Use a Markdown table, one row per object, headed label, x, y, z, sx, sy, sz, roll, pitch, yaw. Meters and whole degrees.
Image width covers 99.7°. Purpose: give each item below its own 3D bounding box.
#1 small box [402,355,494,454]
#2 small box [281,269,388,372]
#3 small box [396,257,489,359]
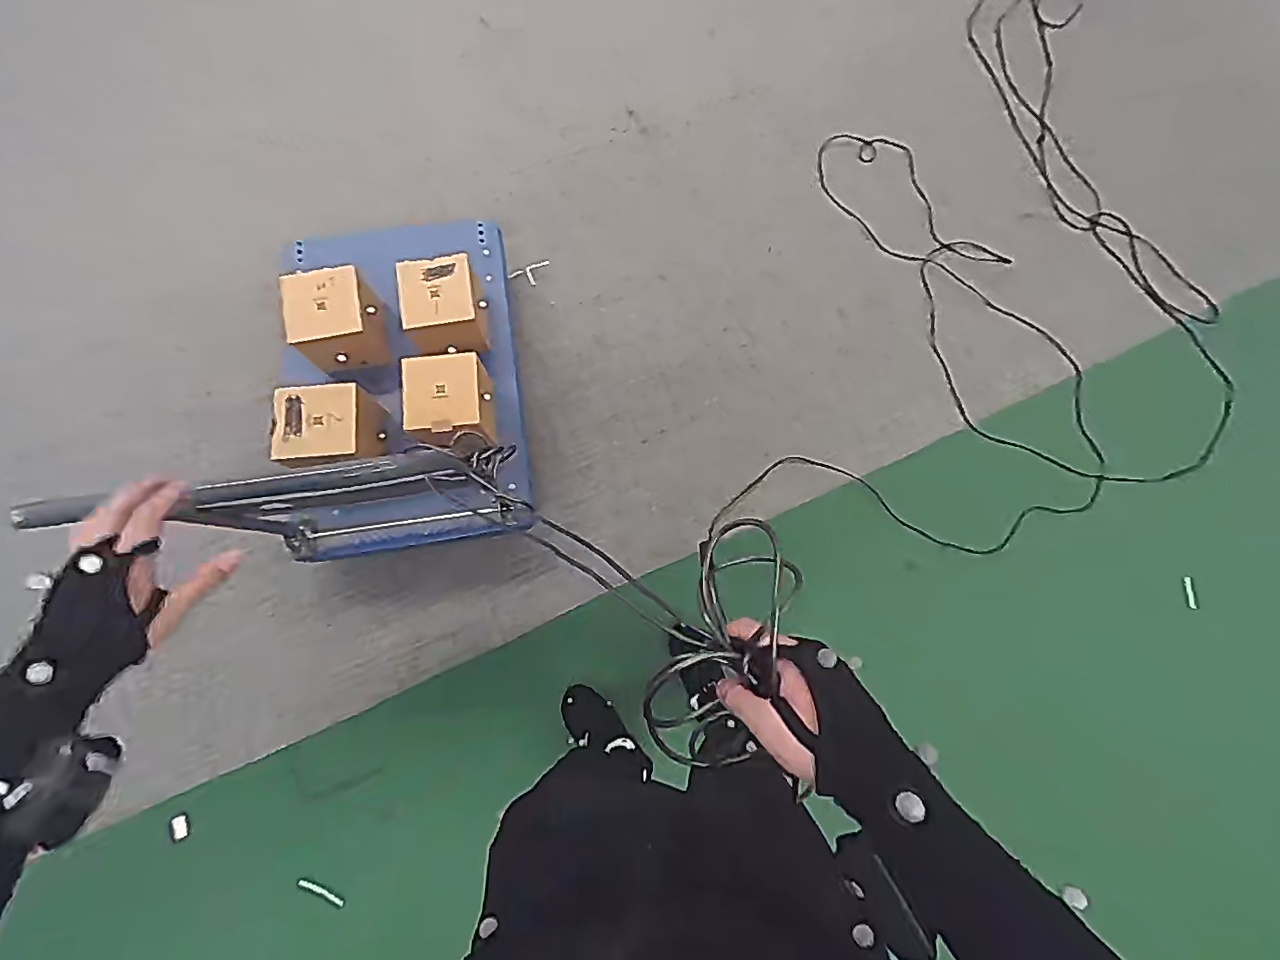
| label | x | y | z | sx | sy | sz | roll | pitch | yaw |
| --- | --- | --- | --- | --- | --- | --- | --- | --- | --- |
| small box | -0.449 | -0.174 | 1.279 | 0.168 | 0.176 | 0.179 | -7 | 78 | -4 |
| small box | -0.733 | -0.376 | 1.312 | 0.168 | 0.176 | 0.179 | -12 | 78 | -5 |
| small box | -0.481 | -0.415 | 1.330 | 0.168 | 0.176 | 0.179 | -10 | 79 | -4 |
